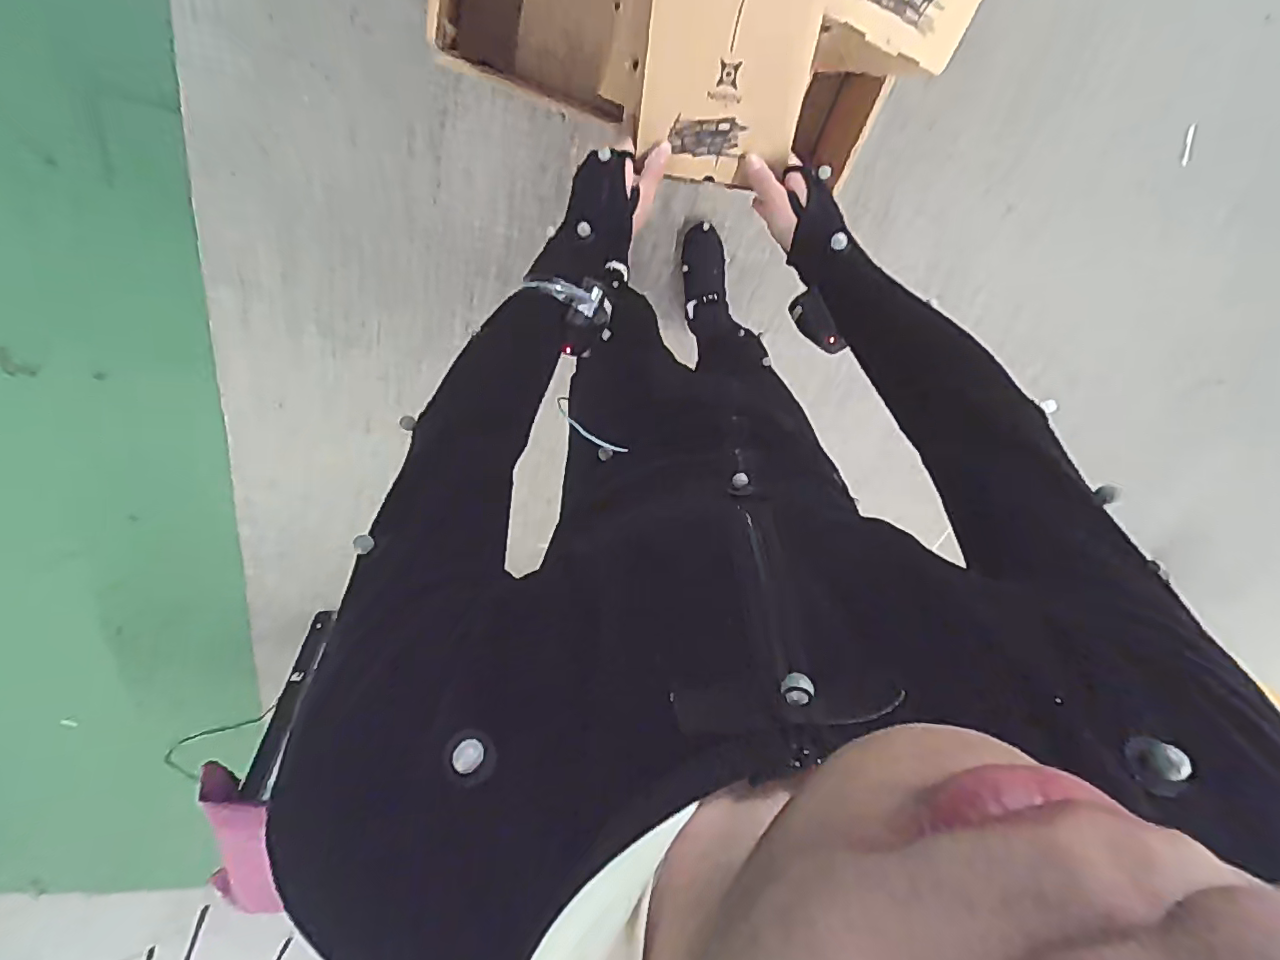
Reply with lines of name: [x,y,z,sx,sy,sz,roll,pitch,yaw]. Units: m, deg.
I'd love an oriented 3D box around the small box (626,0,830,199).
small box: [0.078,-0.427,0.598,0.168,0.176,0.179,2,124,-10]
